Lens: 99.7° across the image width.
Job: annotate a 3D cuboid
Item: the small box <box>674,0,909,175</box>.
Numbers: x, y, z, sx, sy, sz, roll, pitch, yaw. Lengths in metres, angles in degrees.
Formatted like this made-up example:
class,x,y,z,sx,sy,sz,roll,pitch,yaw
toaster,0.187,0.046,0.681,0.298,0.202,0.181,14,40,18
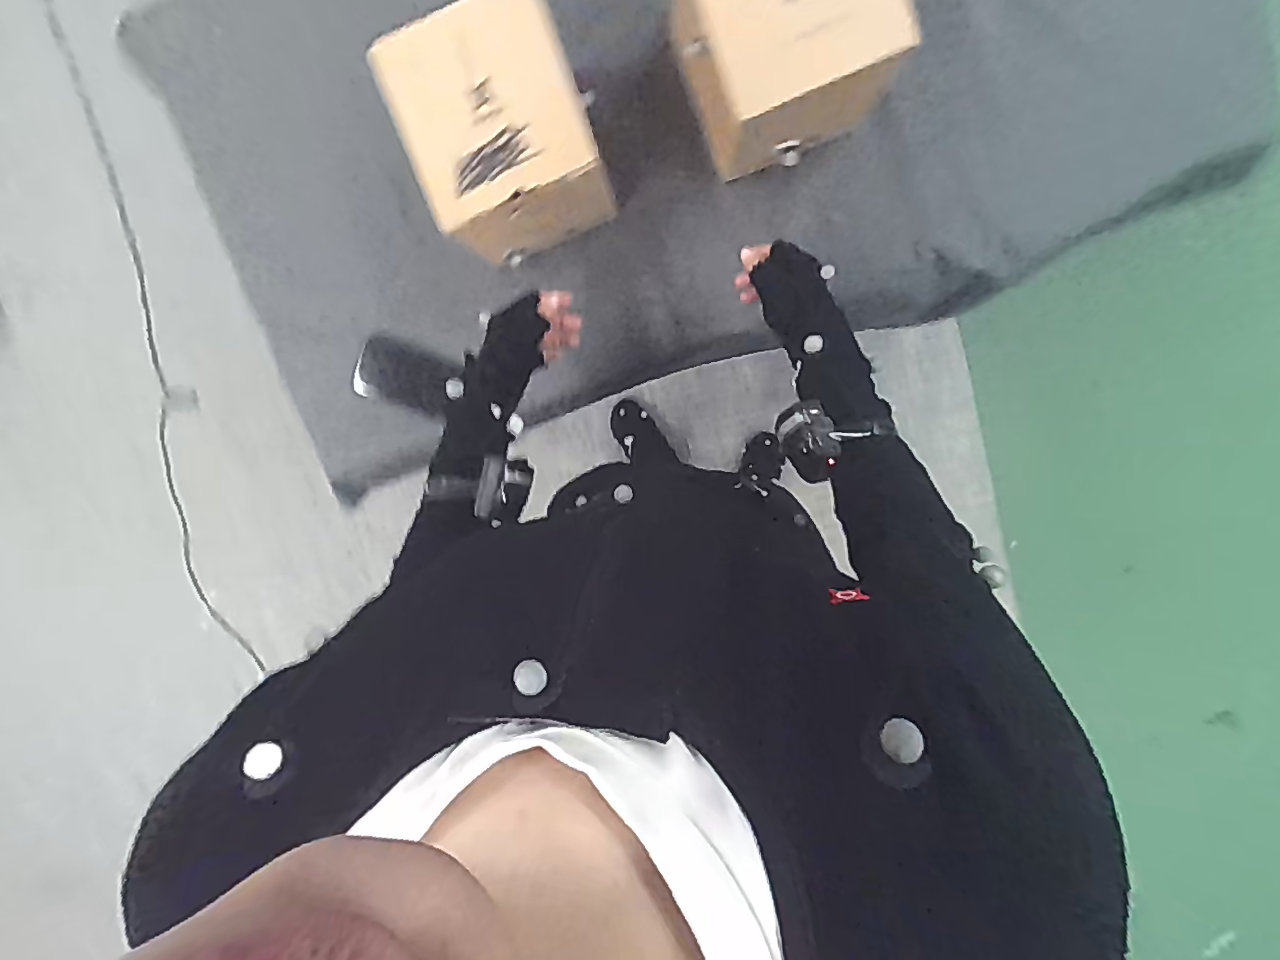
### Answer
class,x,y,z,sx,sy,sz,roll,pitch,yaw
small box,0.136,-0.454,0.550,0.168,0.176,0.179,-21,99,8

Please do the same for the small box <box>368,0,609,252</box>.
class,x,y,z,sx,sy,sz,roll,pitch,yaw
small box,-0.143,-0.365,0.582,0.168,0.176,0.179,-20,97,7
